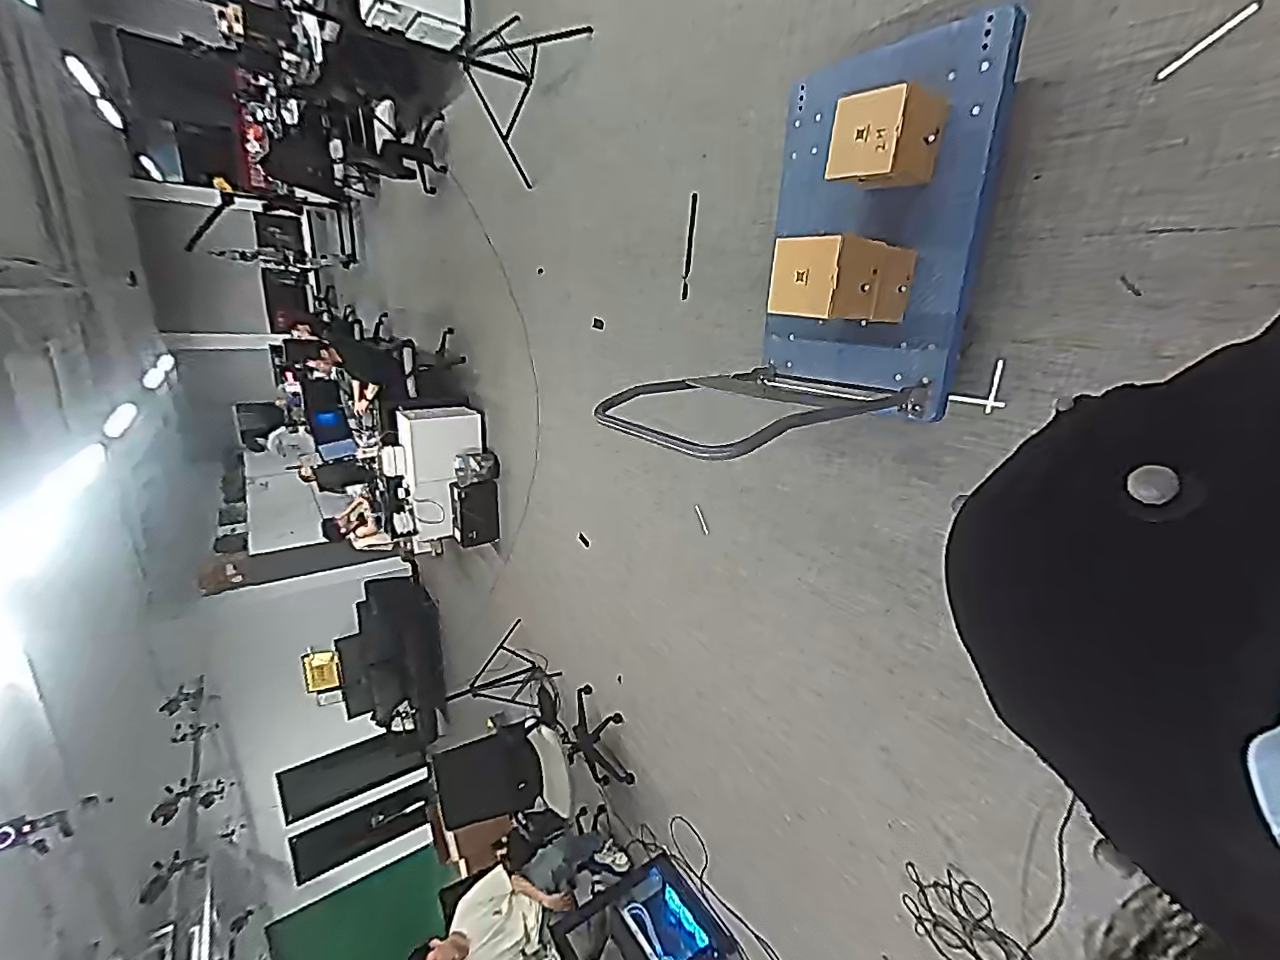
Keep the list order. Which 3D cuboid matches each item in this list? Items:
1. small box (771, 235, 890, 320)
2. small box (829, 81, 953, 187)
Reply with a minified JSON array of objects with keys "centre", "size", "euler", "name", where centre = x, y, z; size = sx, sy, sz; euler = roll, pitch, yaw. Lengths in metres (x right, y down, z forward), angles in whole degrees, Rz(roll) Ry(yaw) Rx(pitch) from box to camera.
[{"centre":[0.429,-0.455,1.226],"size":[0.179,0.176,0.168],"euler":[26,119,49],"name":"small box"},{"centre":[0.568,-0.774,1.230],"size":[0.179,0.176,0.168],"euler":[30,123,49],"name":"small box"}]
